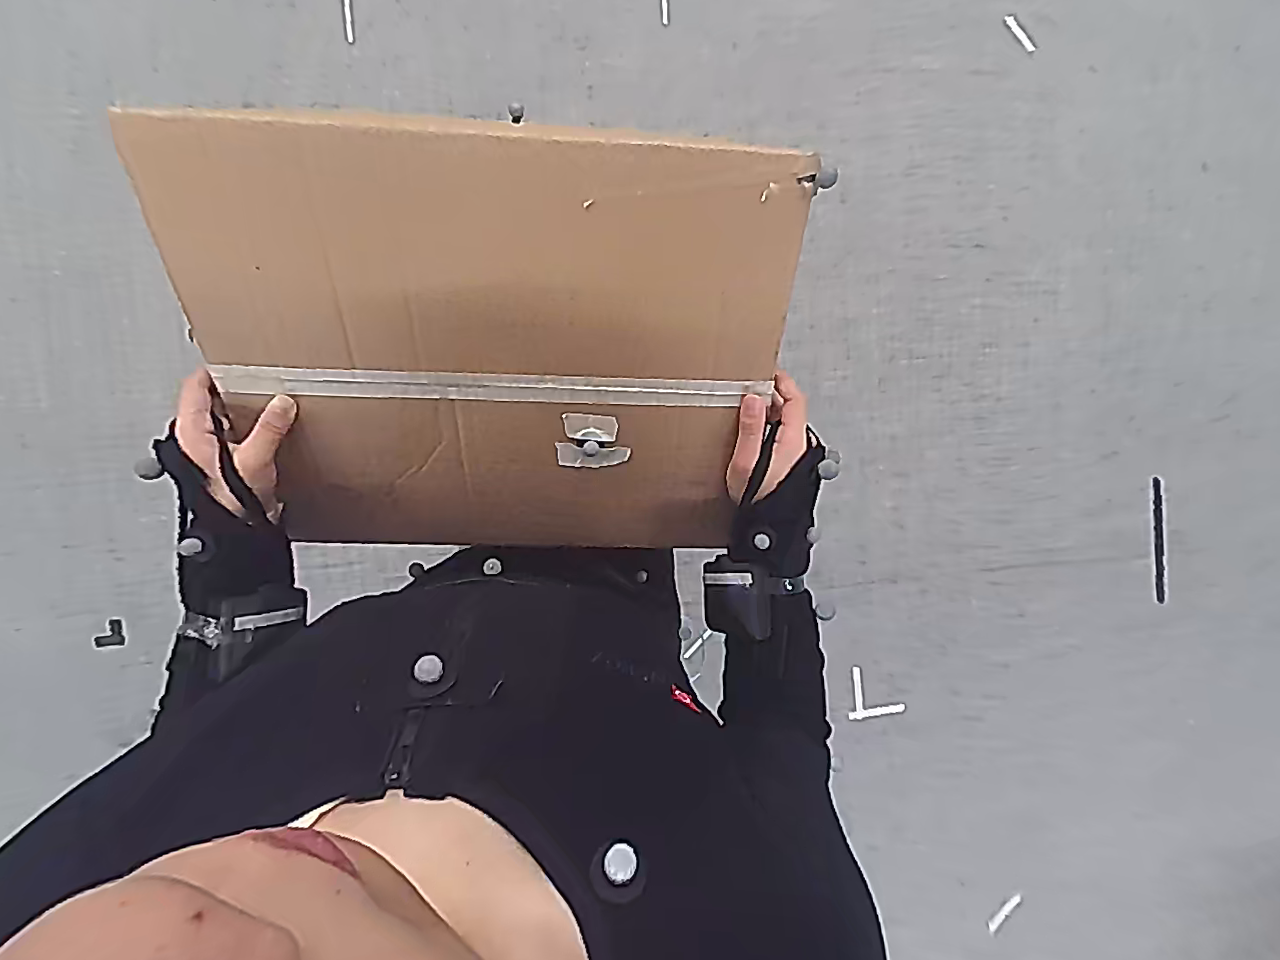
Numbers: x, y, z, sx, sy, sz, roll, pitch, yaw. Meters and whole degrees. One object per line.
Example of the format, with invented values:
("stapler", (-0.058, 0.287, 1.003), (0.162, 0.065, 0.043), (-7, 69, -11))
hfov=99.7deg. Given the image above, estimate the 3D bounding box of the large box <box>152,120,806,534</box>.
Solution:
("large box", (-0.108, -0.163, 0.535), (0.408, 0.320, 0.320), (0, 125, -5))
